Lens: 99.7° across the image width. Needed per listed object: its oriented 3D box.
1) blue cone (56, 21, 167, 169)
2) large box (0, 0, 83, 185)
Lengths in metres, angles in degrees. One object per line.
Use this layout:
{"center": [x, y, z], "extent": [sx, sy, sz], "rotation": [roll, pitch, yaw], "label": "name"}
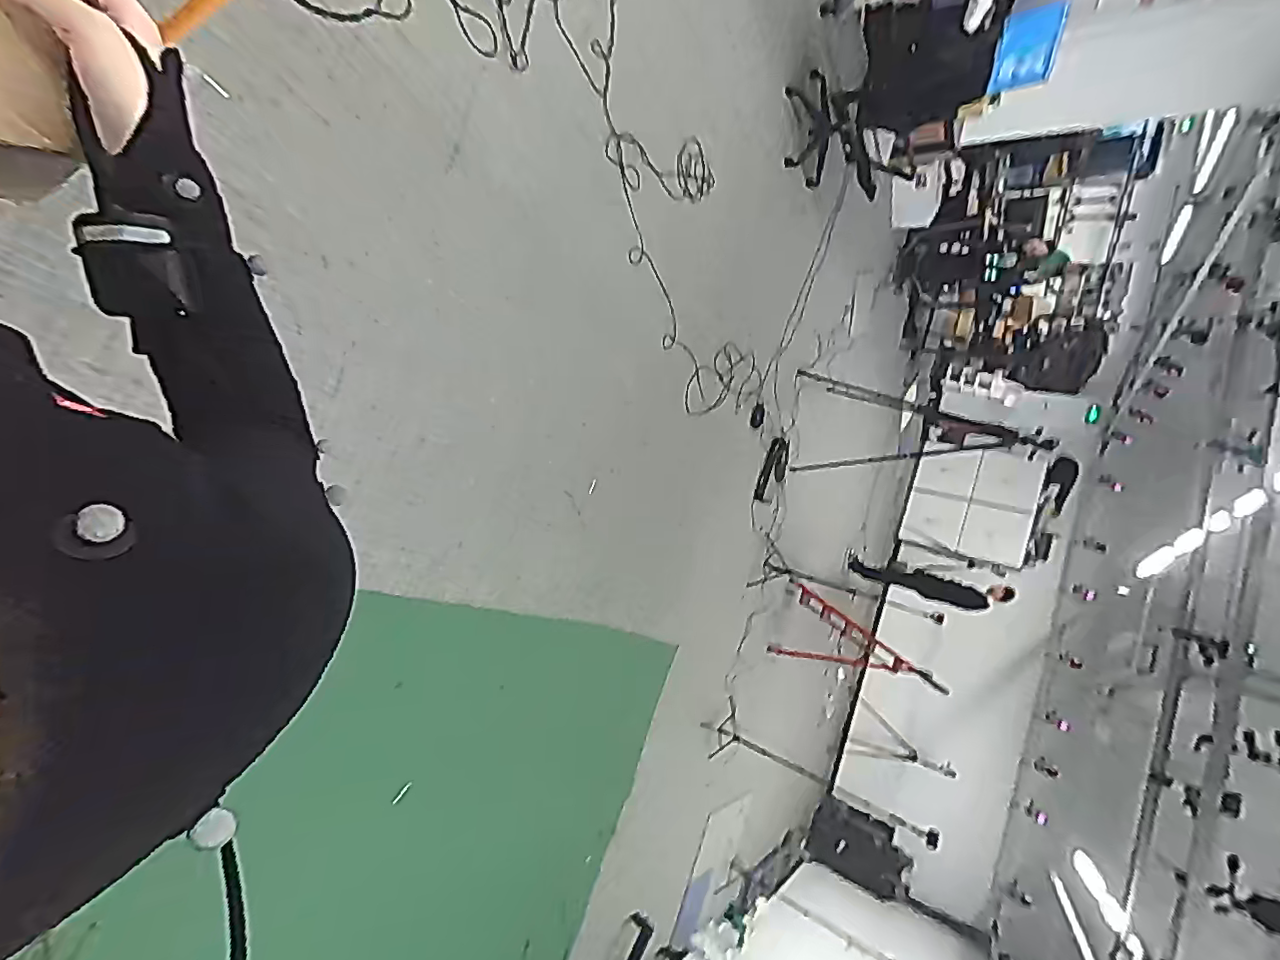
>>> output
{"center": [-0.904, -0.683, 0.920], "extent": [0.193, 0.380, 0.192], "rotation": [47, 63, -51], "label": "blue cone"}
{"center": [-0.609, -0.352, 0.250], "extent": [0.408, 0.320, 0.320], "rotation": [-22, 120, -49], "label": "large box"}
